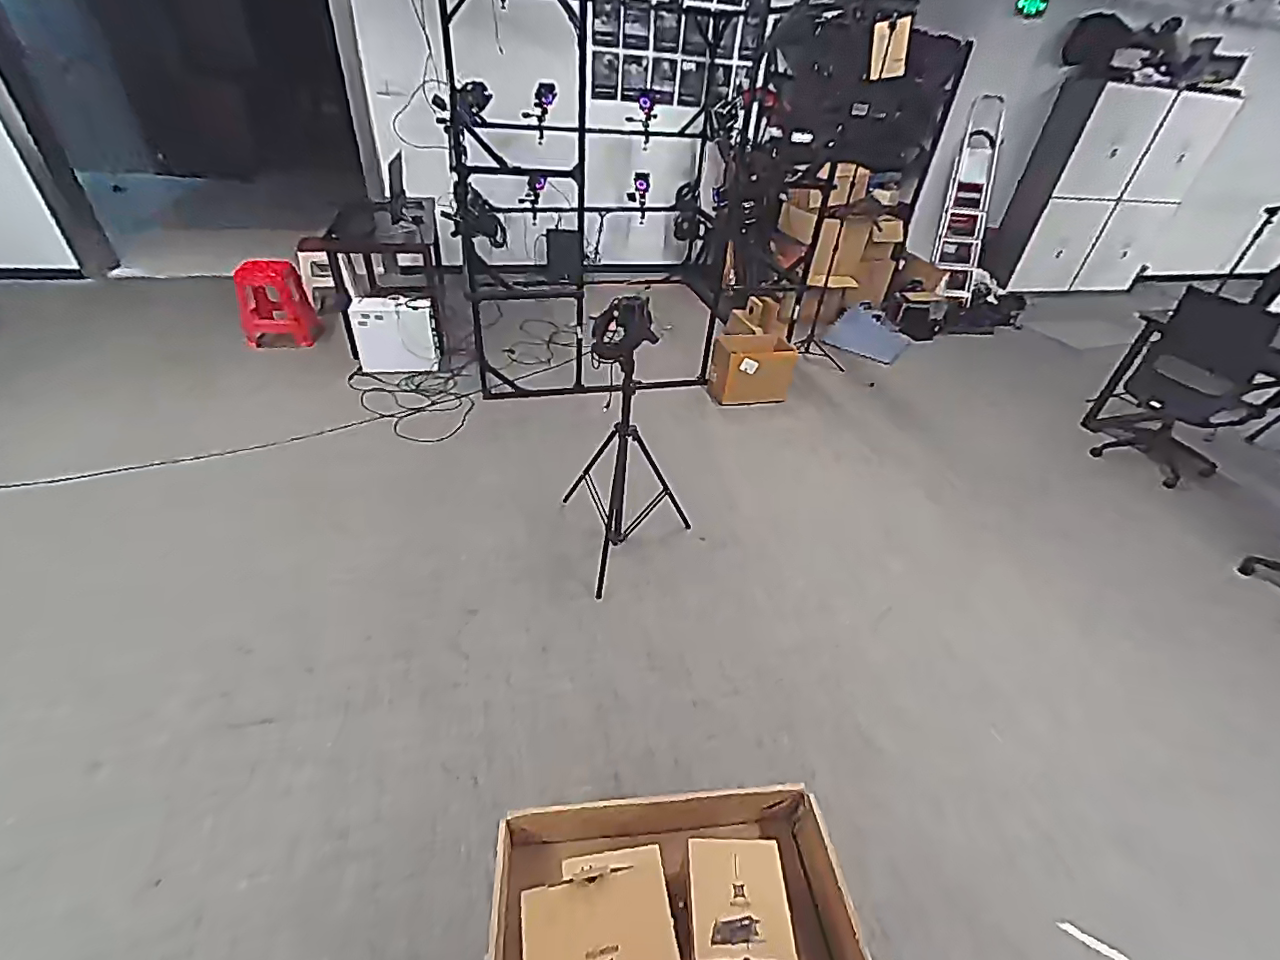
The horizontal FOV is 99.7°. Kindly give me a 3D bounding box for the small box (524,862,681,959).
[{"bbox_3d":[-0.043,0.578,0.609,0.168,0.176,0.179,-4,35,-13],"label":"small box"}]
